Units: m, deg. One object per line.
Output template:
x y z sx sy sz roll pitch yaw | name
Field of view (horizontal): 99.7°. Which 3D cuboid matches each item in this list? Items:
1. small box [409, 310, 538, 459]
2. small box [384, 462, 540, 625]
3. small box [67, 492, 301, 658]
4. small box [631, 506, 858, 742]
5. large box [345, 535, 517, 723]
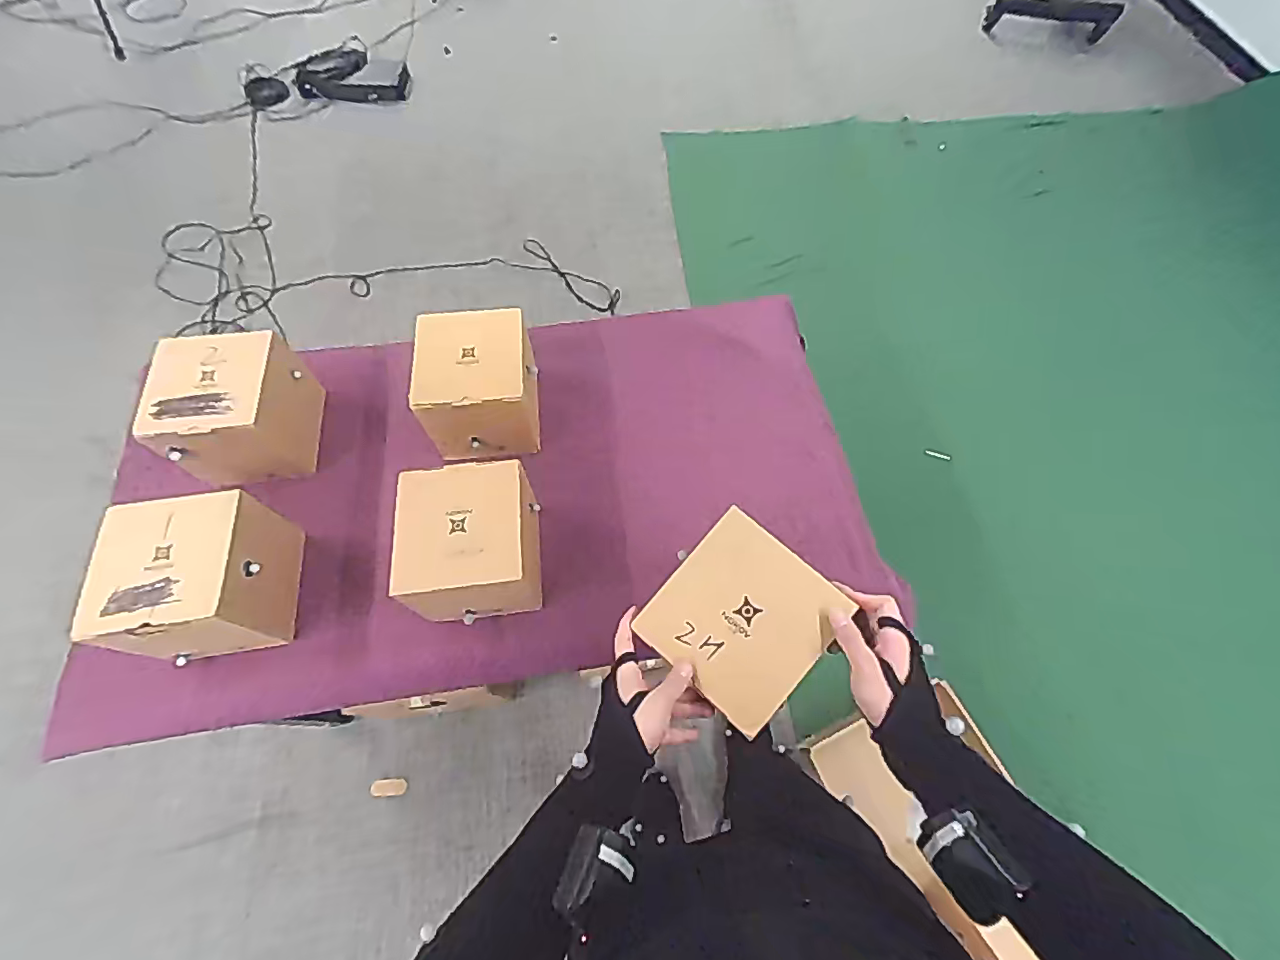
-0.263 -0.152 0.889 0.168 0.176 0.179 -5 66 -4 | small box
-0.239 0.094 0.768 0.168 0.176 0.179 -6 64 -3 | small box
-0.598 0.138 0.740 0.168 0.176 0.179 -8 63 -5 | small box
0.113 0.158 0.626 0.168 0.176 0.179 40 85 15 | small box
-0.503 0.368 1.367 0.320 0.320 0.408 -7 63 -5 | large box
